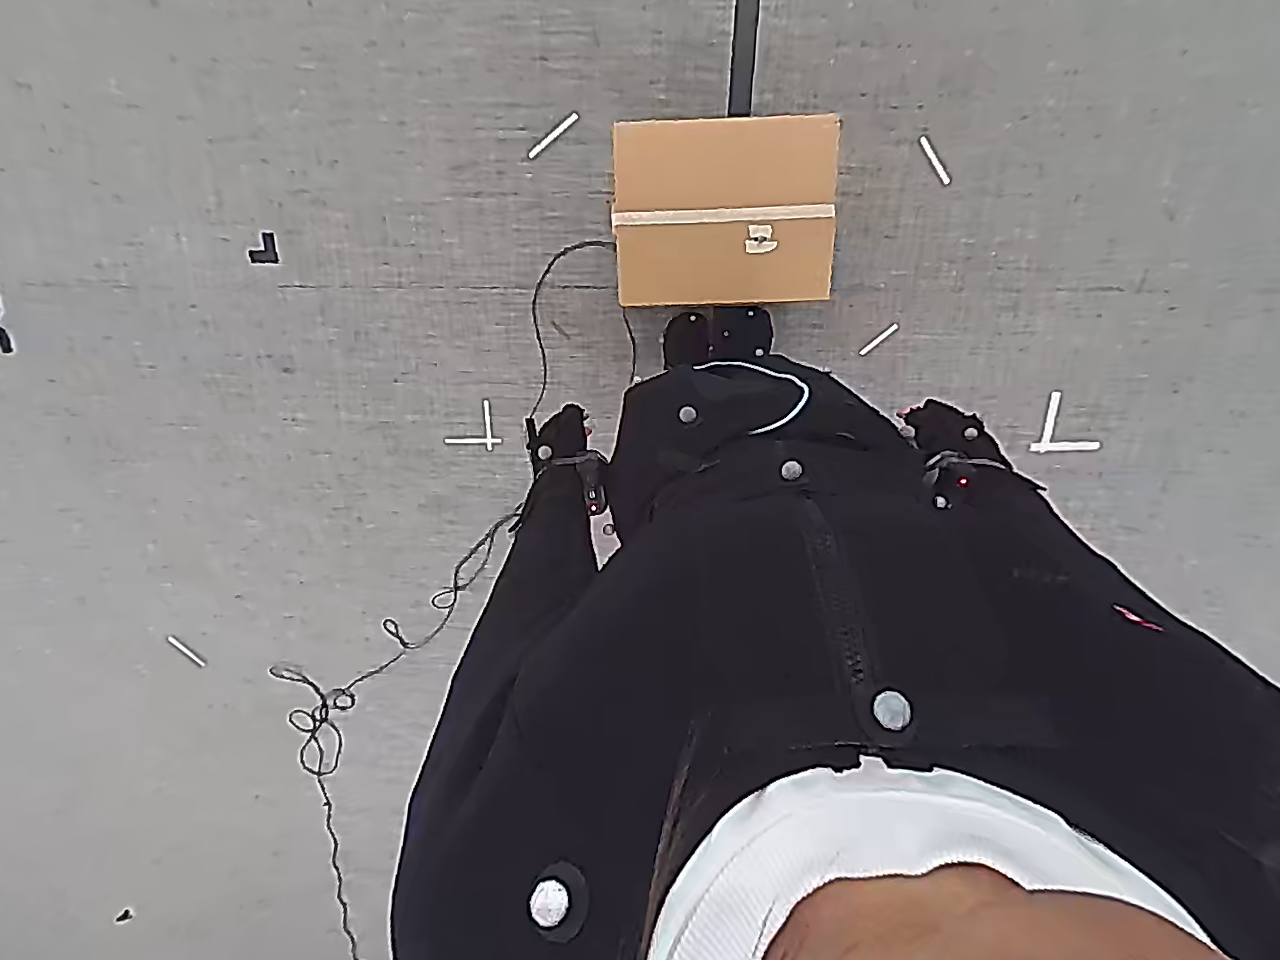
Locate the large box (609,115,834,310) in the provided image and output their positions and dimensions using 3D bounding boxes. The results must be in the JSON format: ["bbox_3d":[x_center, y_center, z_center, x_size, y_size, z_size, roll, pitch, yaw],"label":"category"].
[{"bbox_3d":[0.148,-0.530,1.137,0.408,0.320,0.320,-1,107,1],"label":"large box"}]
